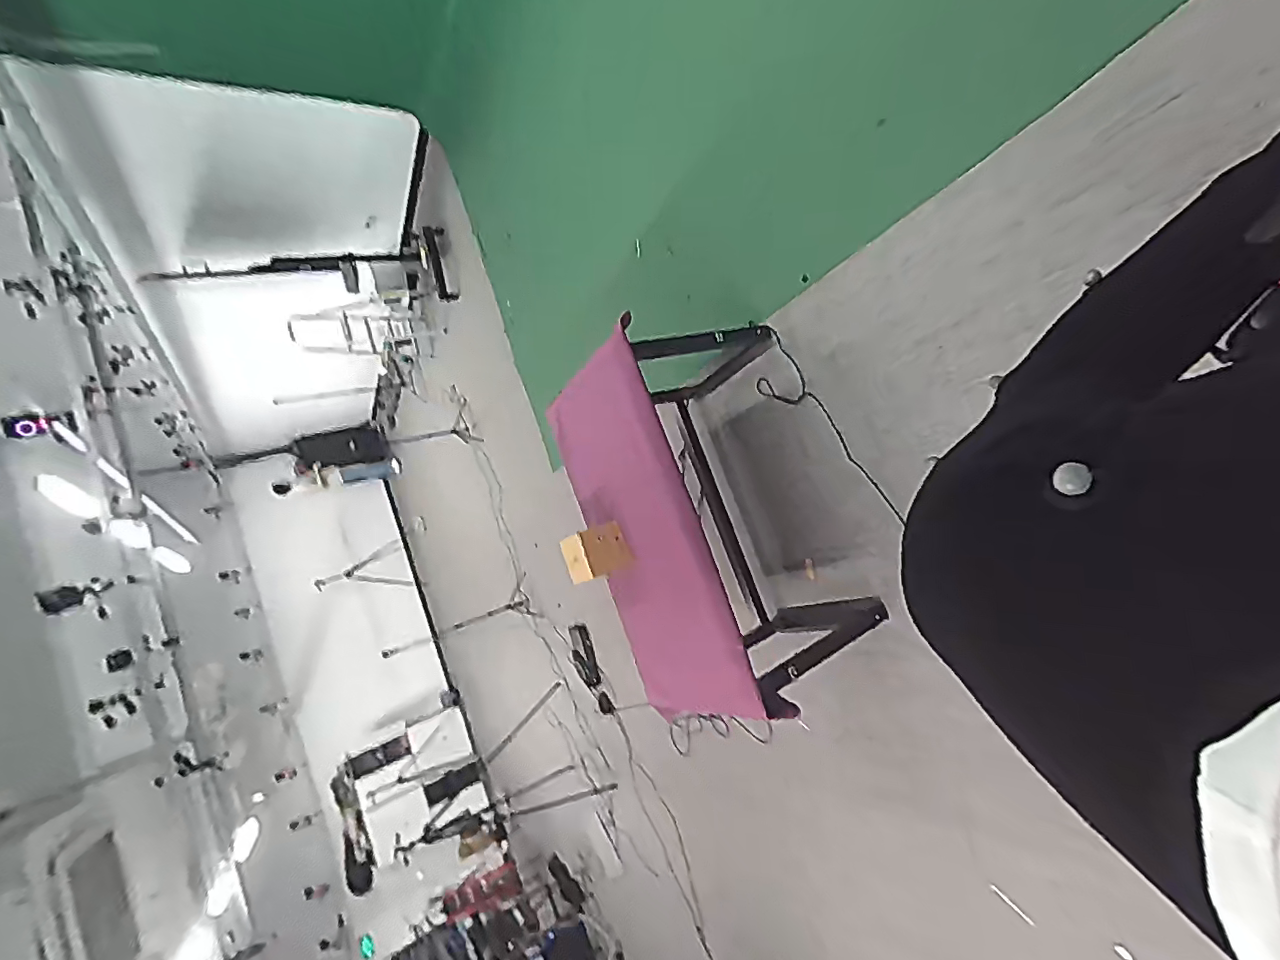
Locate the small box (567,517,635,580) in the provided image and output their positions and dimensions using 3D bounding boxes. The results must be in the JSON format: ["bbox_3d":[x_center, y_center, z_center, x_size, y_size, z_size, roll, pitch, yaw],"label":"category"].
[{"bbox_3d":[-0.135,0.245,1.941,0.179,0.176,0.168,-31,77,57],"label":"small box"}]
